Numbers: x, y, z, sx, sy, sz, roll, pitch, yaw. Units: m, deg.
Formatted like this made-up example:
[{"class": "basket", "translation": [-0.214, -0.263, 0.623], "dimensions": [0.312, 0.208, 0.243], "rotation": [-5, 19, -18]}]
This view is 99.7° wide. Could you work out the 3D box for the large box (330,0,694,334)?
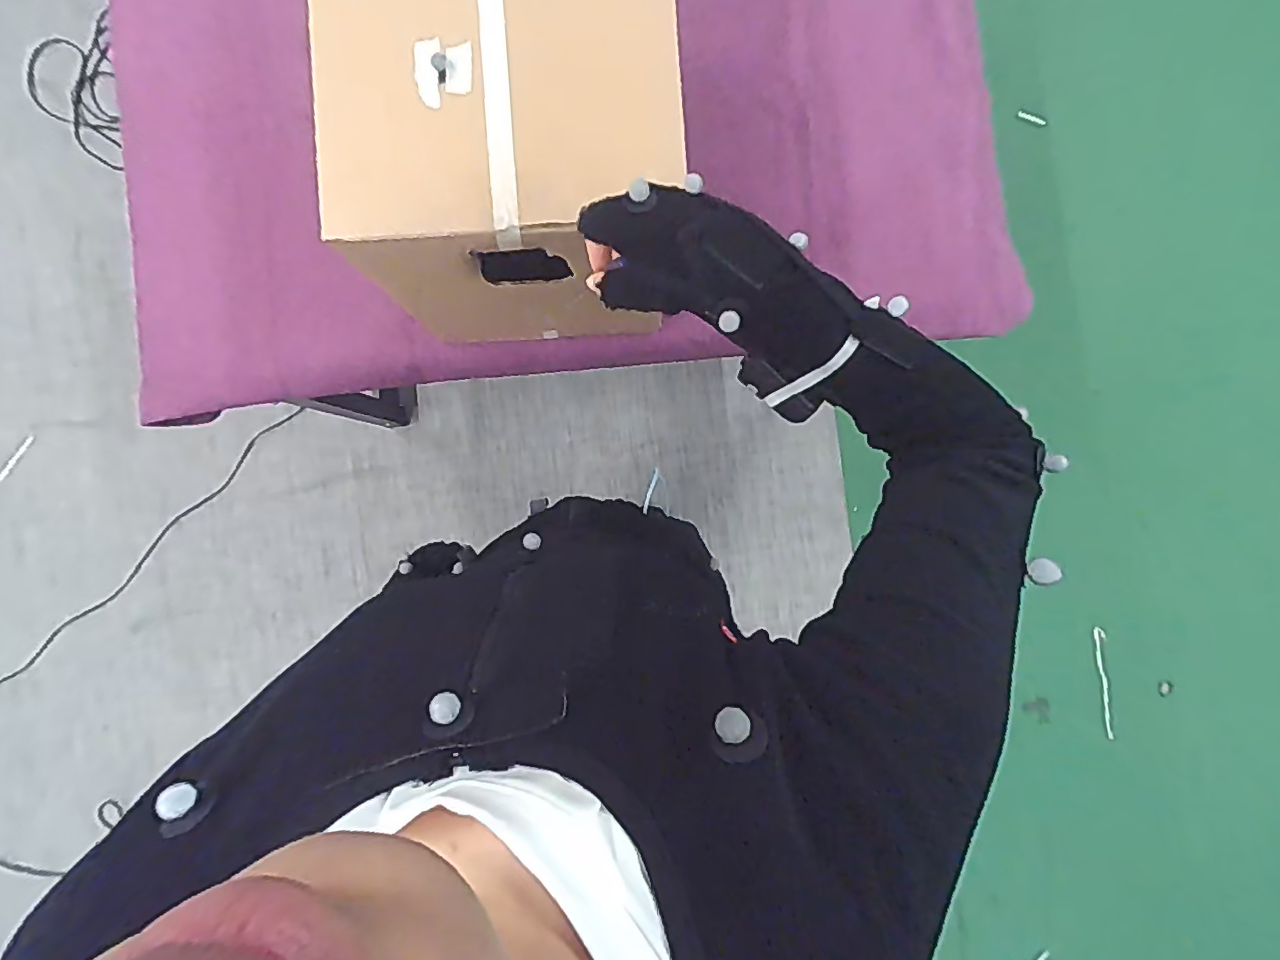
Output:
[{"class": "large box", "translation": [-0.127, -0.414, 0.627], "dimensions": [0.320, 0.320, 0.408], "rotation": [-3, 90, -2]}]
